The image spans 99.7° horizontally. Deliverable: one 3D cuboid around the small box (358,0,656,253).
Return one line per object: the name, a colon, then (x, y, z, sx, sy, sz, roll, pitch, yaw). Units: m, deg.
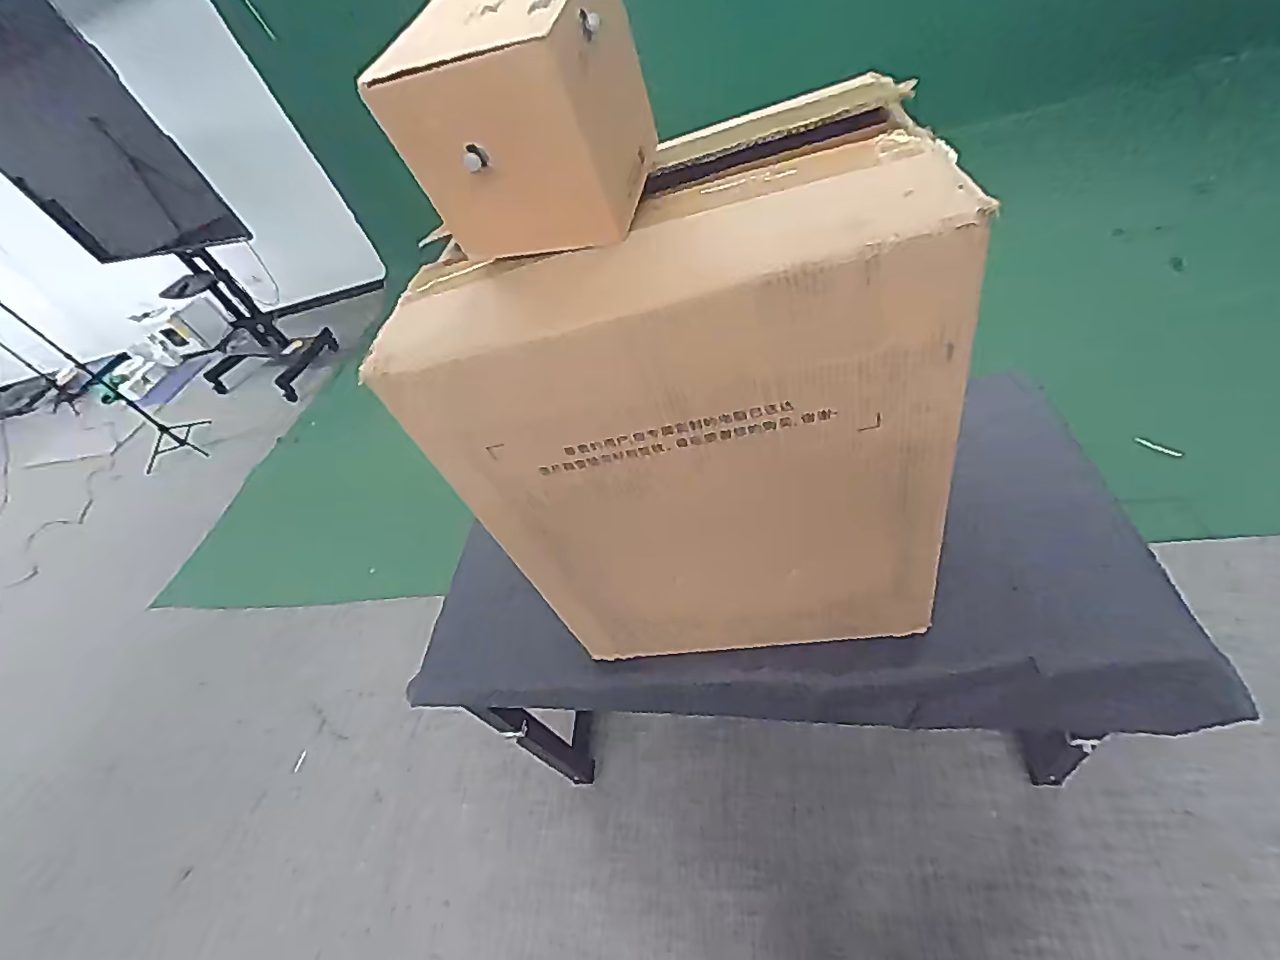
small box: (-0.103, -0.333, 0.497, 0.179, 0.176, 0.168, 3, 62, 22)
